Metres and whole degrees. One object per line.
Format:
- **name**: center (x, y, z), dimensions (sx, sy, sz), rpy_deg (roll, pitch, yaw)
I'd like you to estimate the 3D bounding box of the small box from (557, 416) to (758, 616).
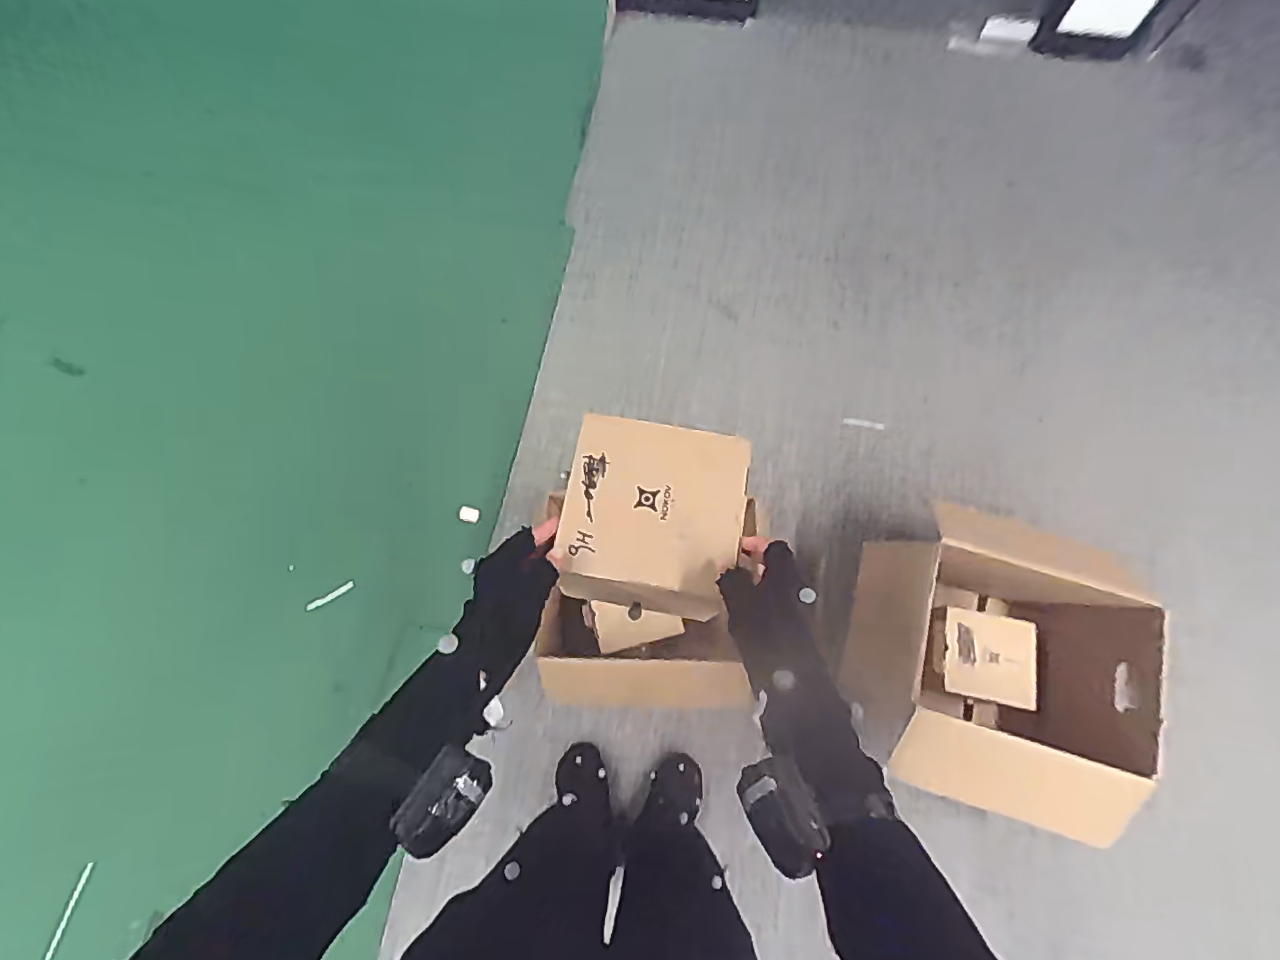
- **small box**: center (0.017, 0.051, 0.593), dimensions (0.179, 0.176, 0.168), rpy_deg (9, 70, 0)
